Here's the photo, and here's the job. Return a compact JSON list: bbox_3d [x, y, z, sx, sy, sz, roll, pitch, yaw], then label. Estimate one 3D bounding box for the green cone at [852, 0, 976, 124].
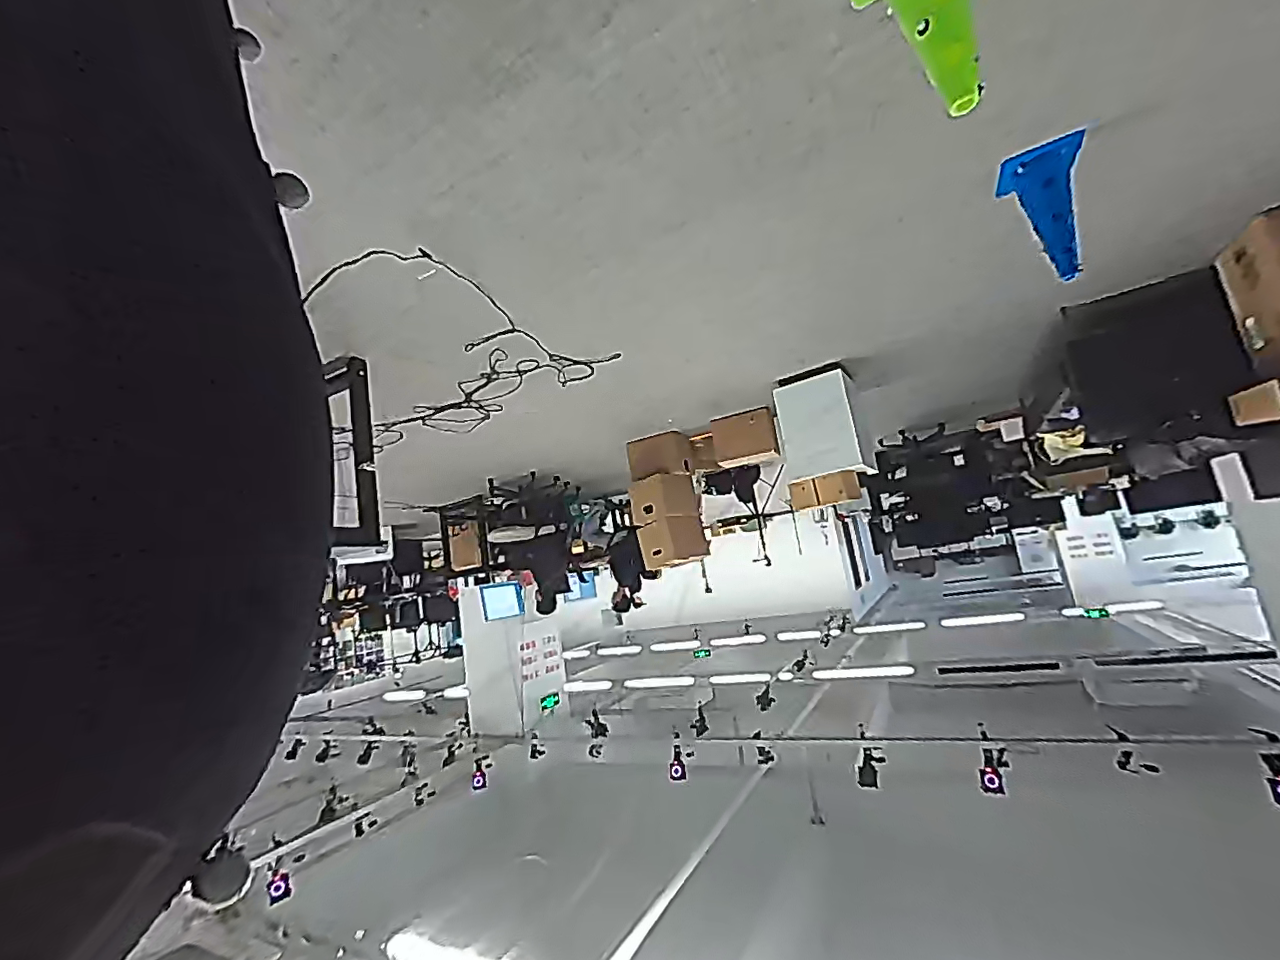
[{"bbox_3d":[0.465,-0.742,0.860,0.200,0.368,0.202,-13,171,28],"label":"green cone"}]
